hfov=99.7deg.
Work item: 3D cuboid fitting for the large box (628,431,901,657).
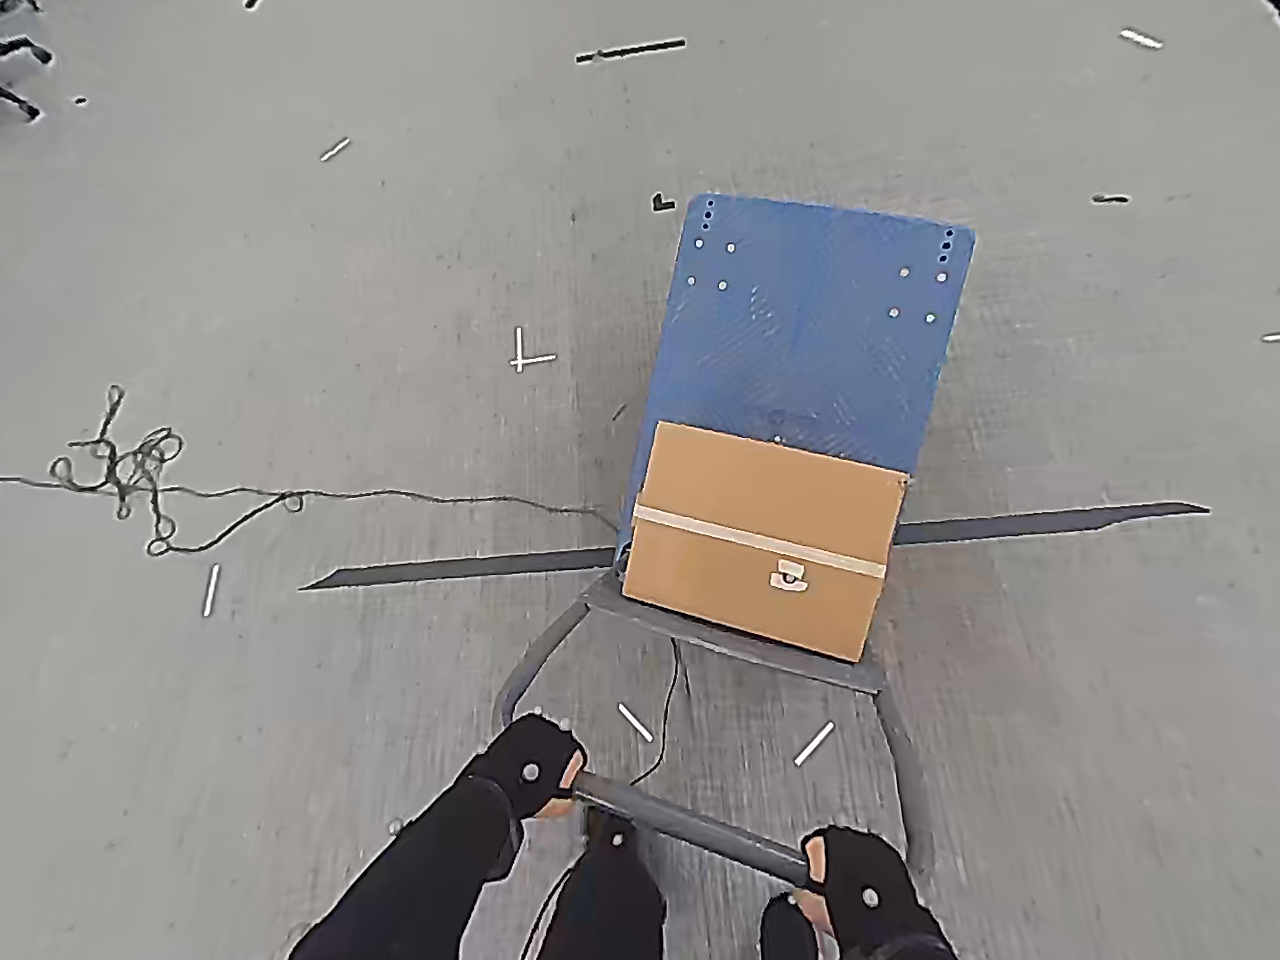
[{"bbox_3d":[0.224,0.094,1.050,0.408,0.320,0.320,13,97,11],"label":"large box"}]
